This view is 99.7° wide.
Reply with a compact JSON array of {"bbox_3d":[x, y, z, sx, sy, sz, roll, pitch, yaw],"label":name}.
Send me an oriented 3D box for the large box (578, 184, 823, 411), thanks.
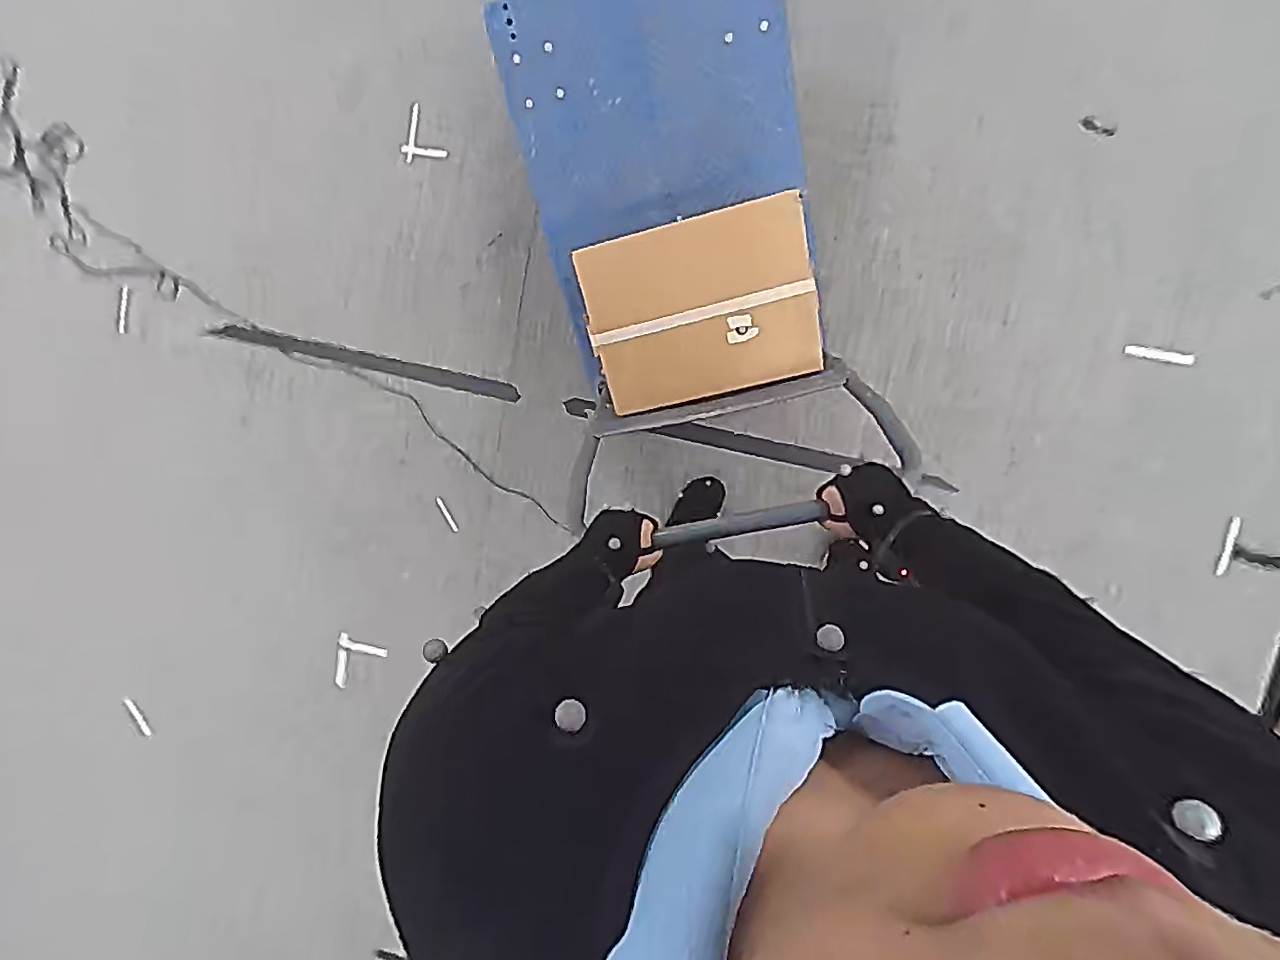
[{"bbox_3d":[0.123,-0.375,1.132,0.408,0.320,0.320,-13,112,8],"label":"large box"}]
